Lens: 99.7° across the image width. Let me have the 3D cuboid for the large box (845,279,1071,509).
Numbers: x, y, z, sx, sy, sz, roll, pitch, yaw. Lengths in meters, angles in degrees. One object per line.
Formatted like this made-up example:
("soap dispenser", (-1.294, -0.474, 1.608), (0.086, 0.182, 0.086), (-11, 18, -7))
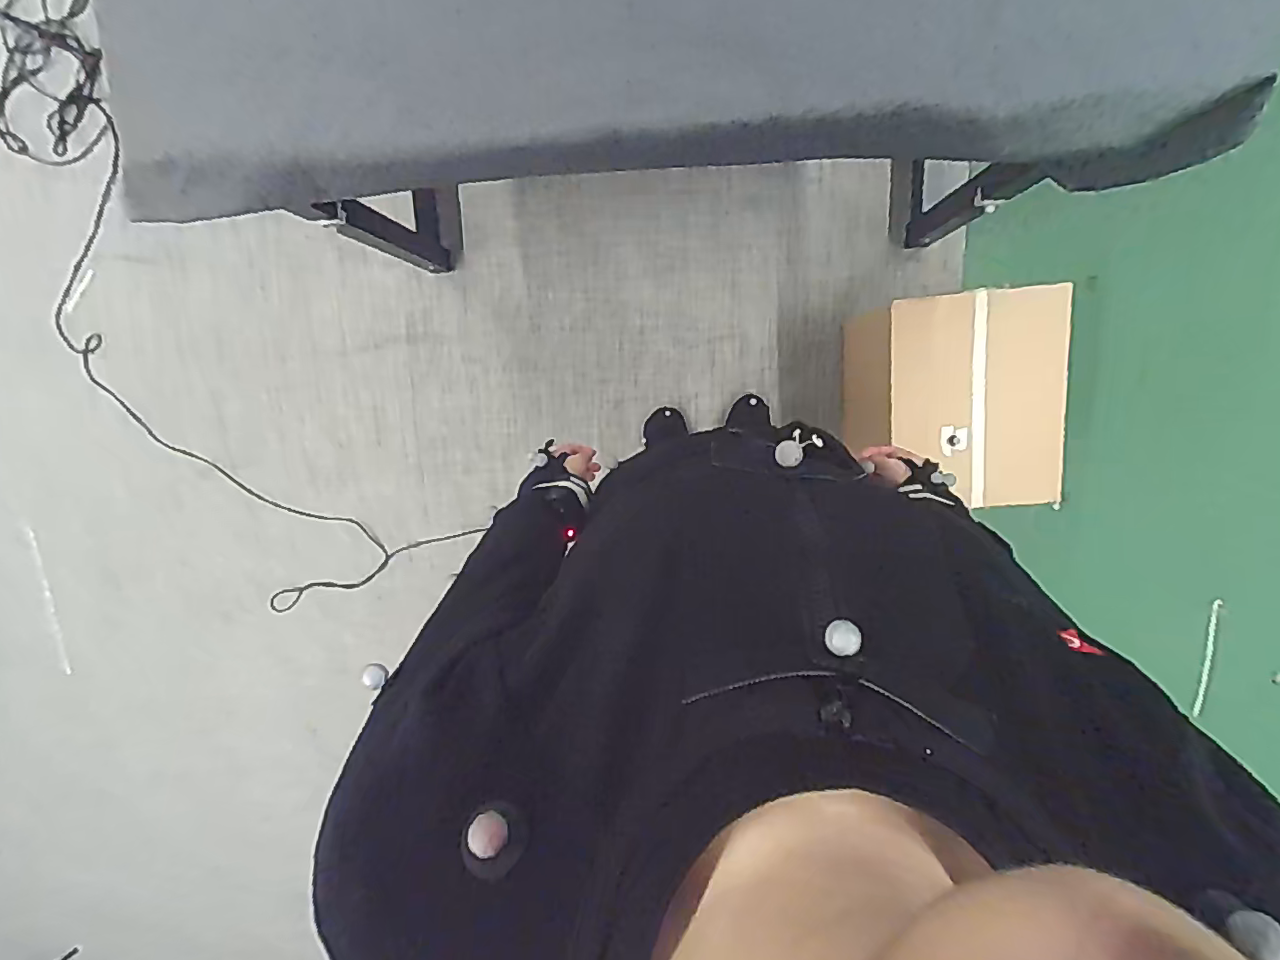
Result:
("large box", (0.639, -0.177, 1.144), (0.320, 0.320, 0.408), (-4, 100, 6))
